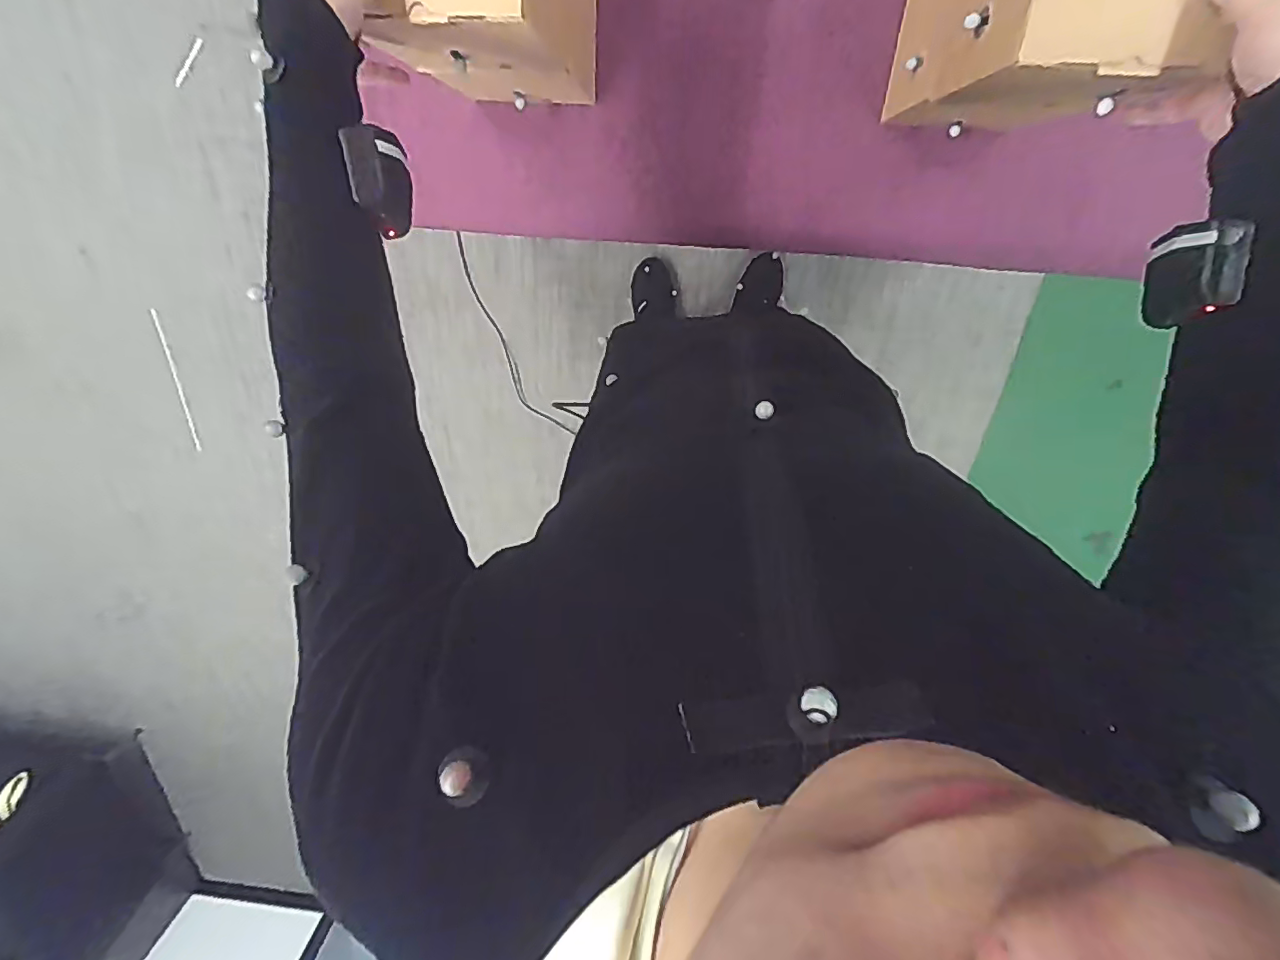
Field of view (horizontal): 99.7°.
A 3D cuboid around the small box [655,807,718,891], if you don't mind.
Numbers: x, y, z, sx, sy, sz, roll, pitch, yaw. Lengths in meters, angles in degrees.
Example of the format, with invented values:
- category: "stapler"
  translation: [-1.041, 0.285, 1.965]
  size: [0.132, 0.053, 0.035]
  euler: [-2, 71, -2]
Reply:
- category: "small box"
  translation: [0.160, 1.261, 1.854]
  size: [0.179, 0.176, 0.168]
  euler: [14, 117, -1]

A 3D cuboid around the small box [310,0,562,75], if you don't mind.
- category: "small box"
  translation: [-0.165, -0.469, 0.454]
  size: [0.168, 0.176, 0.179]
  euler: [4, 117, 4]

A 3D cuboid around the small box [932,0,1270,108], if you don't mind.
- category: "small box"
  translation: [0.357, -0.410, 0.423]
  size: [0.168, 0.176, 0.179]
  euler: [5, 115, 4]

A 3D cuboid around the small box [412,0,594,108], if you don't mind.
- category: "small box"
  translation: [-0.148, -0.538, 0.601]
  size: [0.168, 0.176, 0.179]
  euler: [5, 116, 4]
